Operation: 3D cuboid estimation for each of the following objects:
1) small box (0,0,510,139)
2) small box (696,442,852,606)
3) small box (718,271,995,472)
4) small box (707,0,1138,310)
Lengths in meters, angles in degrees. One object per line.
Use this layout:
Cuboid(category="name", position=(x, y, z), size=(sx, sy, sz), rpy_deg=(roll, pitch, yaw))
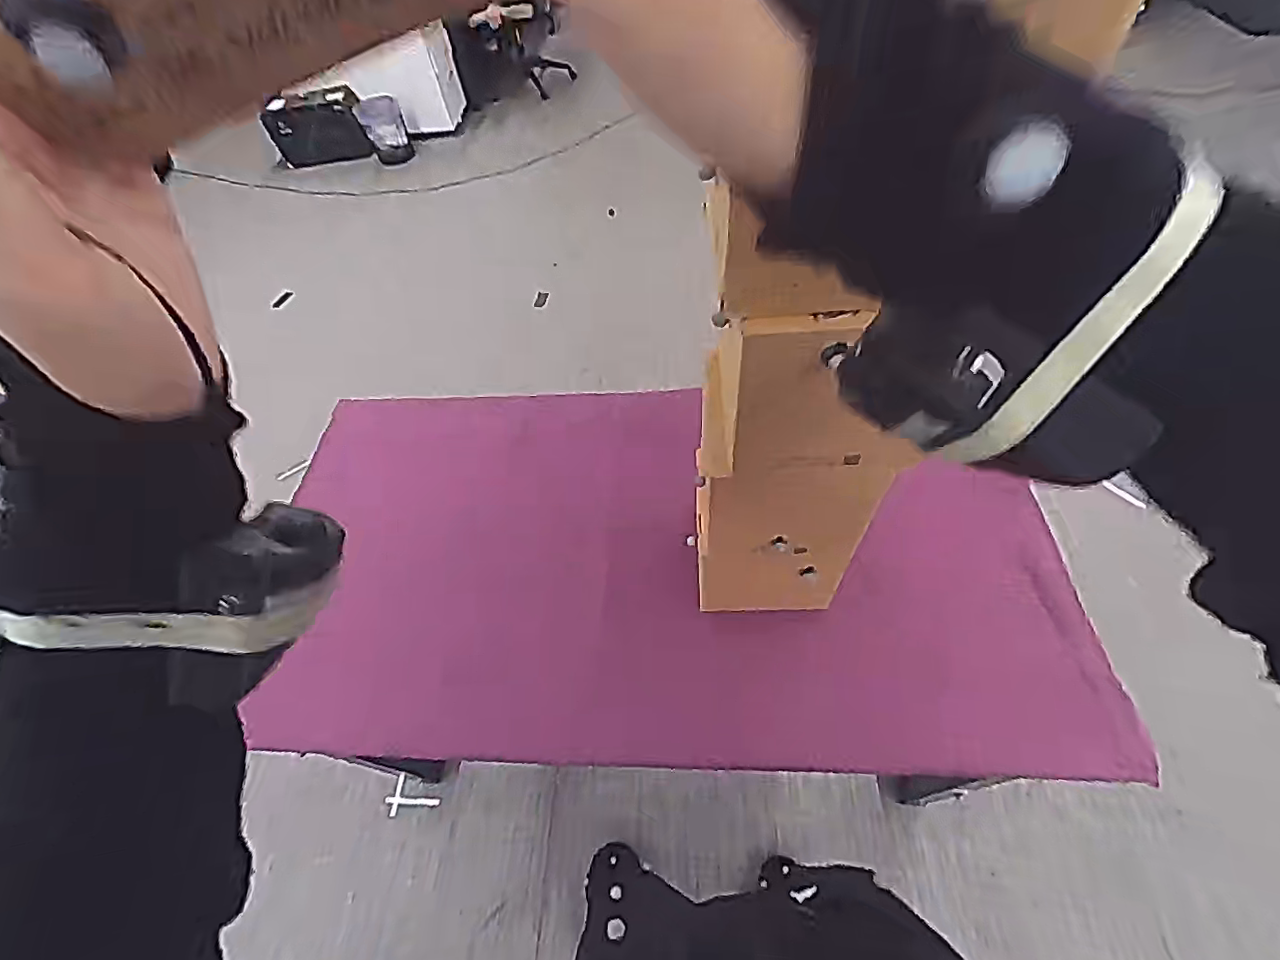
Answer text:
Cuboid(category="small box", position=(-0.118, -0.203, 0.095), size=(0.168, 0.176, 0.179), rpy_deg=(-16, 74, 10))
Cuboid(category="small box", position=(0.167, 0.063, 0.735), size=(0.179, 0.176, 0.168), rpy_deg=(-2, 54, 6))
Cuboid(category="small box", position=(0.157, -0.125, 0.467), size=(0.168, 0.176, 0.179), rpy_deg=(-2, 55, 5))
Cuboid(category="small box", position=(0.136, -0.228, 0.342), size=(0.179, 0.176, 0.168), rpy_deg=(-3, 55, 5))
